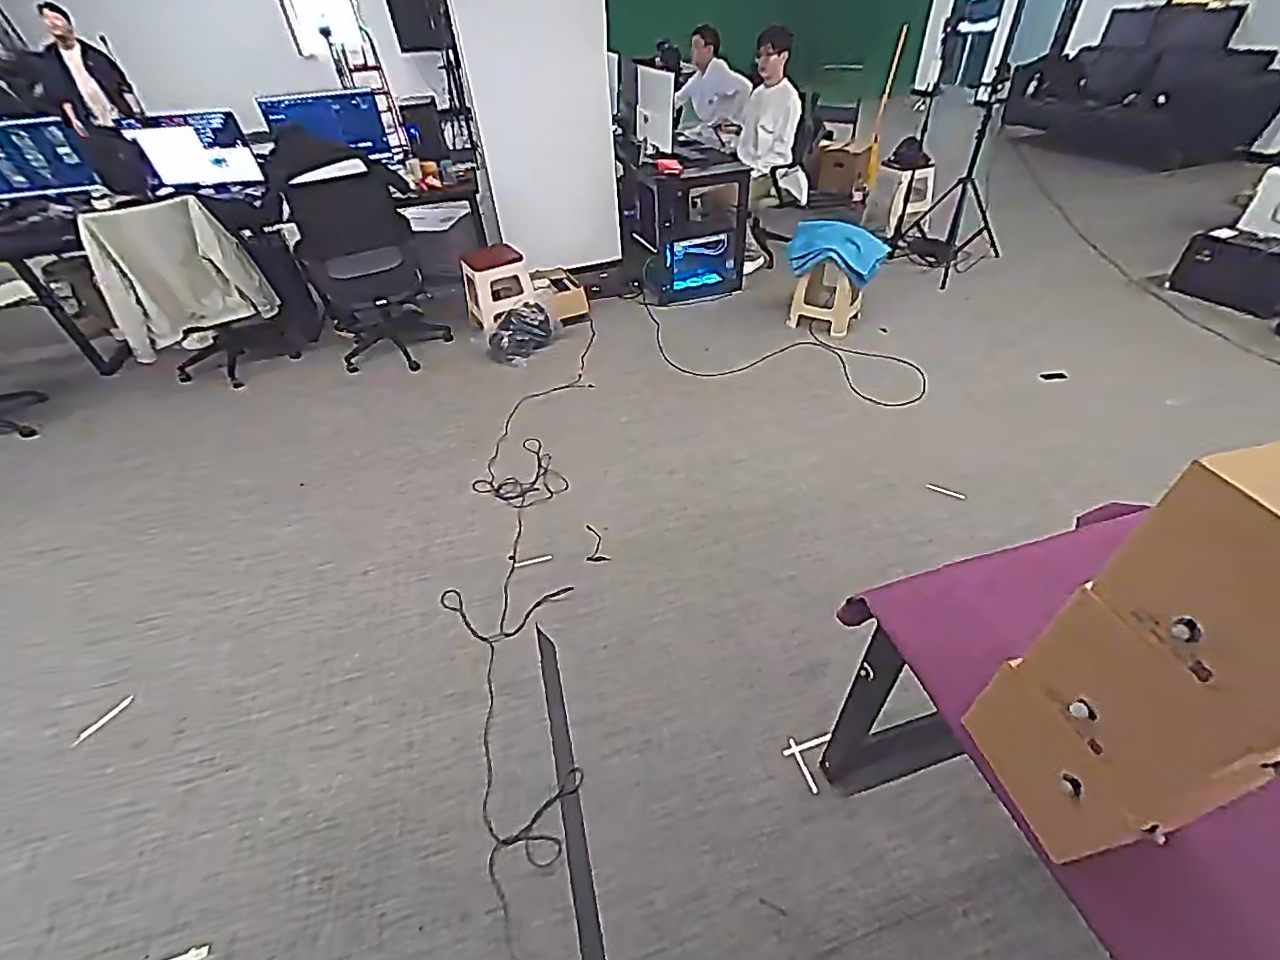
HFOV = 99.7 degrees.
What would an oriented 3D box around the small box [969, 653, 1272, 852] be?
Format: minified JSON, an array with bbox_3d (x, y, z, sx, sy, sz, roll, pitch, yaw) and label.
[{"bbox_3d":[0.541,0.316,0.645,0.168,0.176,0.179,-10,42,-6],"label":"small box"}]

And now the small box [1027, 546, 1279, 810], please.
[{"bbox_3d":[0.541,0.195,0.533,0.179,0.176,0.168,-12,43,-6],"label":"small box"}]
